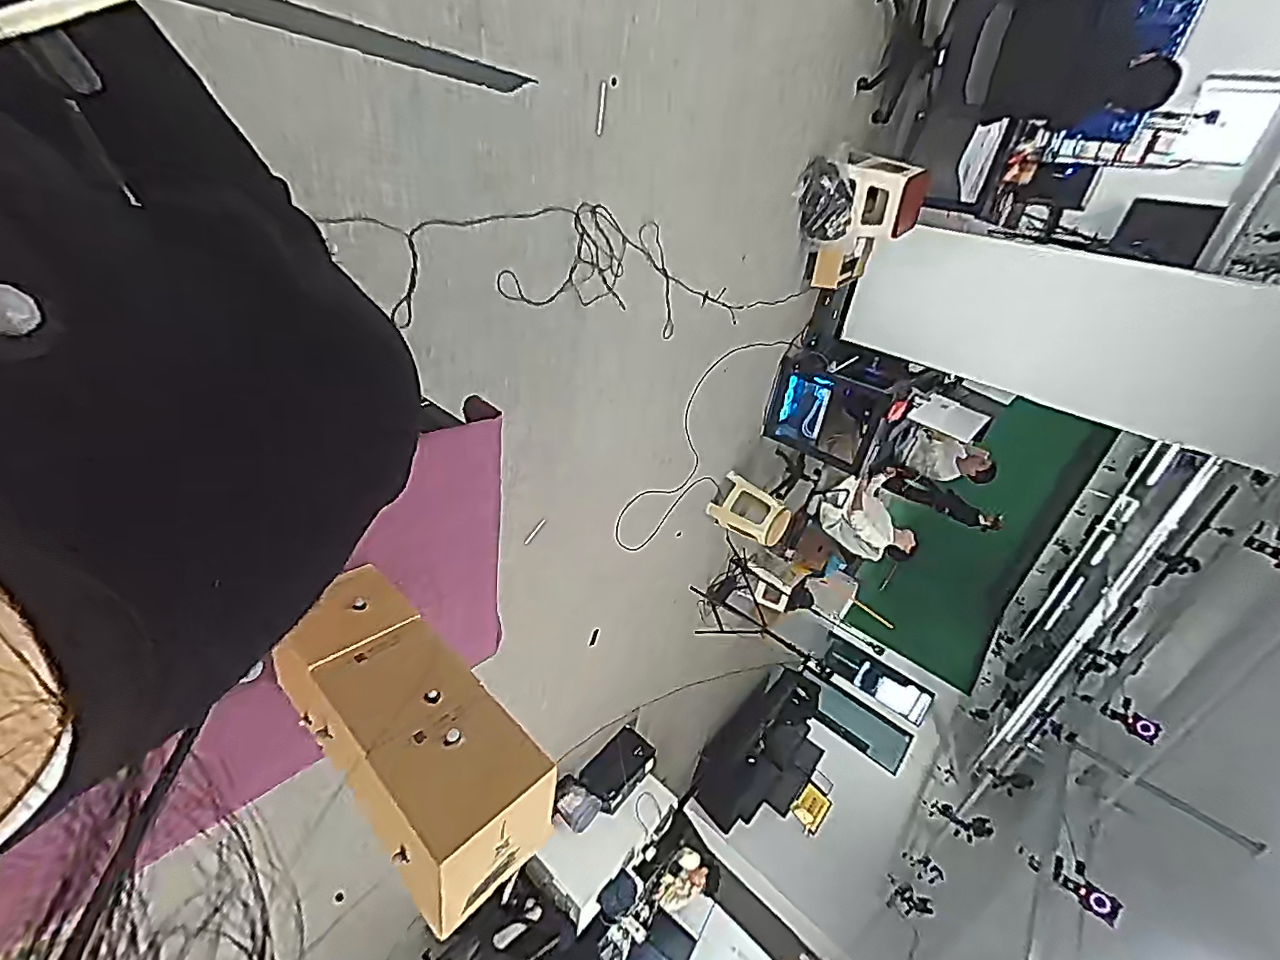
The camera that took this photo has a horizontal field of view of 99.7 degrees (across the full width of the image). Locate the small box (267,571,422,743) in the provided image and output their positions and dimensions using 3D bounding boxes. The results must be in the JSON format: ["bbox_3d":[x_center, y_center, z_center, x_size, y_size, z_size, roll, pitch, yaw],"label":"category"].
[{"bbox_3d":[-0.470,0.268,0.870,0.168,0.176,0.179,-23,133,-46],"label":"small box"}]

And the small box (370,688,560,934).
[{"bbox_3d":[-0.227,0.413,0.701,0.168,0.176,0.179,-23,133,-46],"label":"small box"}]

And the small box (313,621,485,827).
[{"bbox_3d":[-0.348,0.343,0.789,0.168,0.176,0.179,-24,135,-45],"label":"small box"}]
